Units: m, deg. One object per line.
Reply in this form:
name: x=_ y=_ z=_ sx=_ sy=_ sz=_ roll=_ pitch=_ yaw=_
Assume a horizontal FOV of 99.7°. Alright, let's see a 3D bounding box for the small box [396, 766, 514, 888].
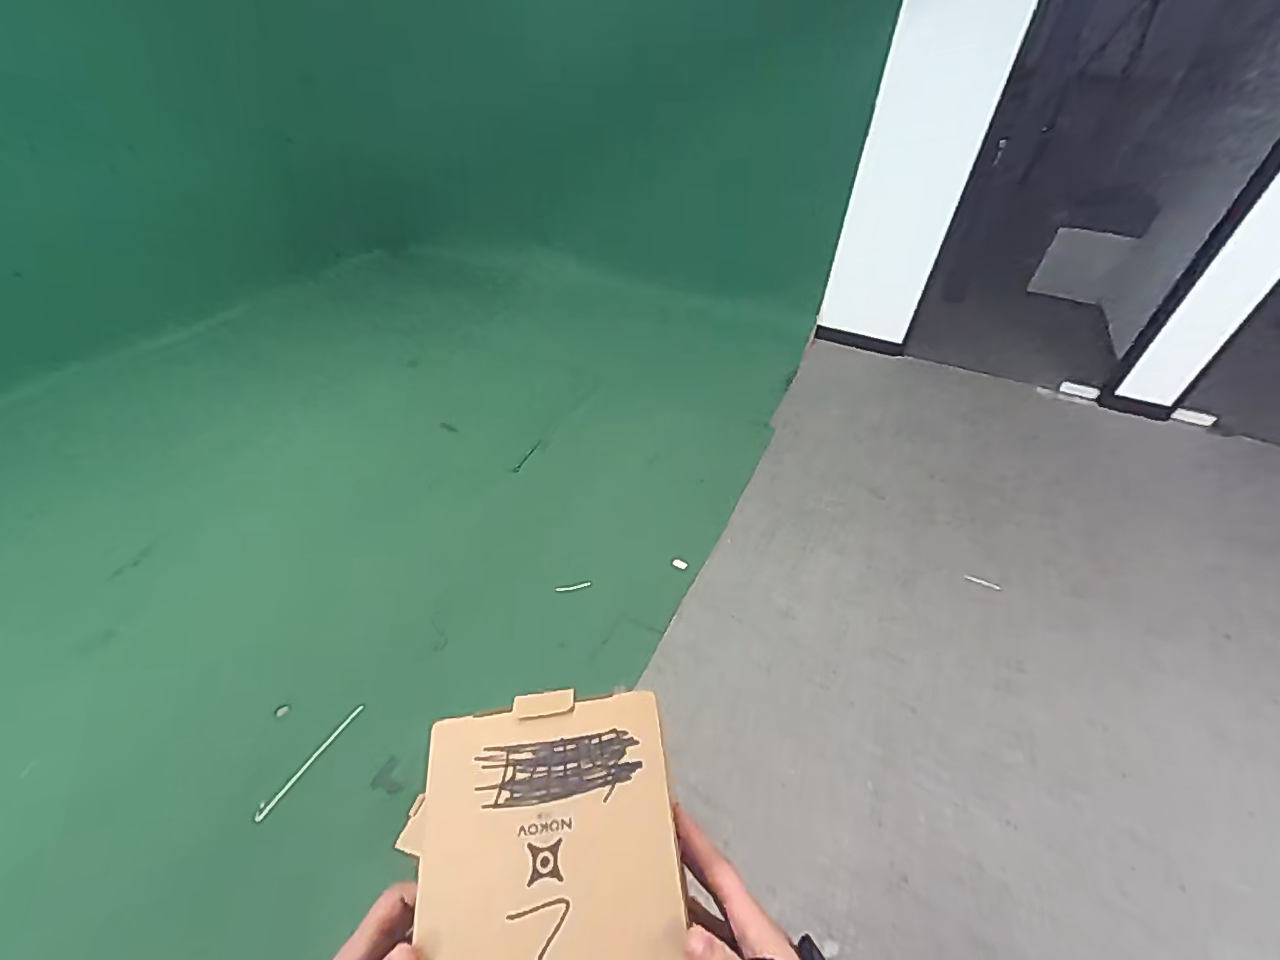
small box: x=-0.403 y=0.778 z=1.209 sx=0.179 sy=0.176 sz=0.168 roll=13 pitch=44 yaw=12
